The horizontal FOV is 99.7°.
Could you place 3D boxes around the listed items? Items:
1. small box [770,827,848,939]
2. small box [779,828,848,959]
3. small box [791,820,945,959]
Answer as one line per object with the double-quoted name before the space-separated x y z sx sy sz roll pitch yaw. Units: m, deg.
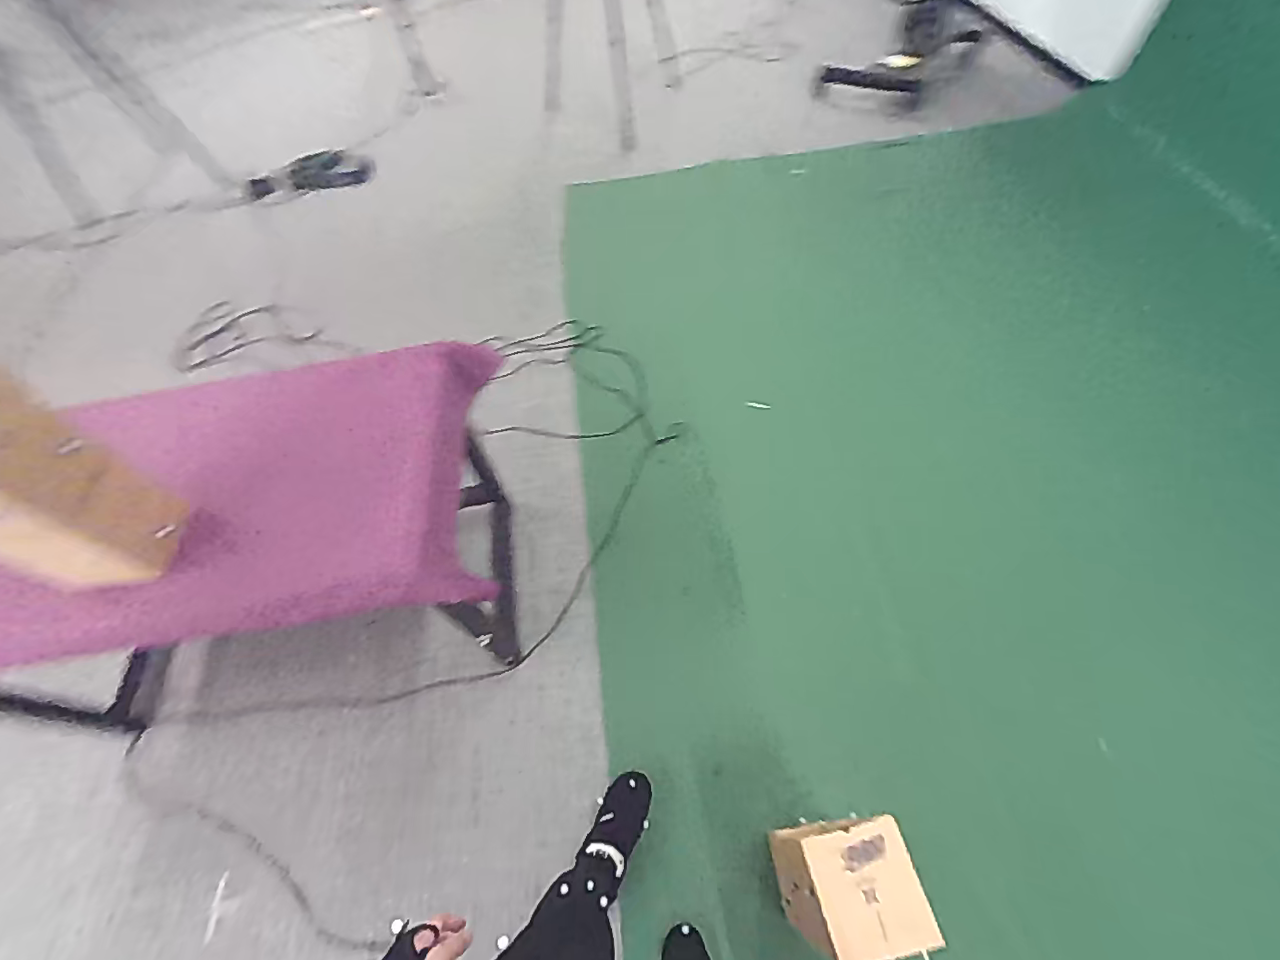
"small box" 0.394 0.879 1.195 0.168 0.176 0.179 -8 56 0
"small box" 0.383 0.795 1.056 0.168 0.176 0.179 -11 55 -1
"small box" 0.370 0.702 0.922 0.168 0.176 0.179 -13 56 -2
